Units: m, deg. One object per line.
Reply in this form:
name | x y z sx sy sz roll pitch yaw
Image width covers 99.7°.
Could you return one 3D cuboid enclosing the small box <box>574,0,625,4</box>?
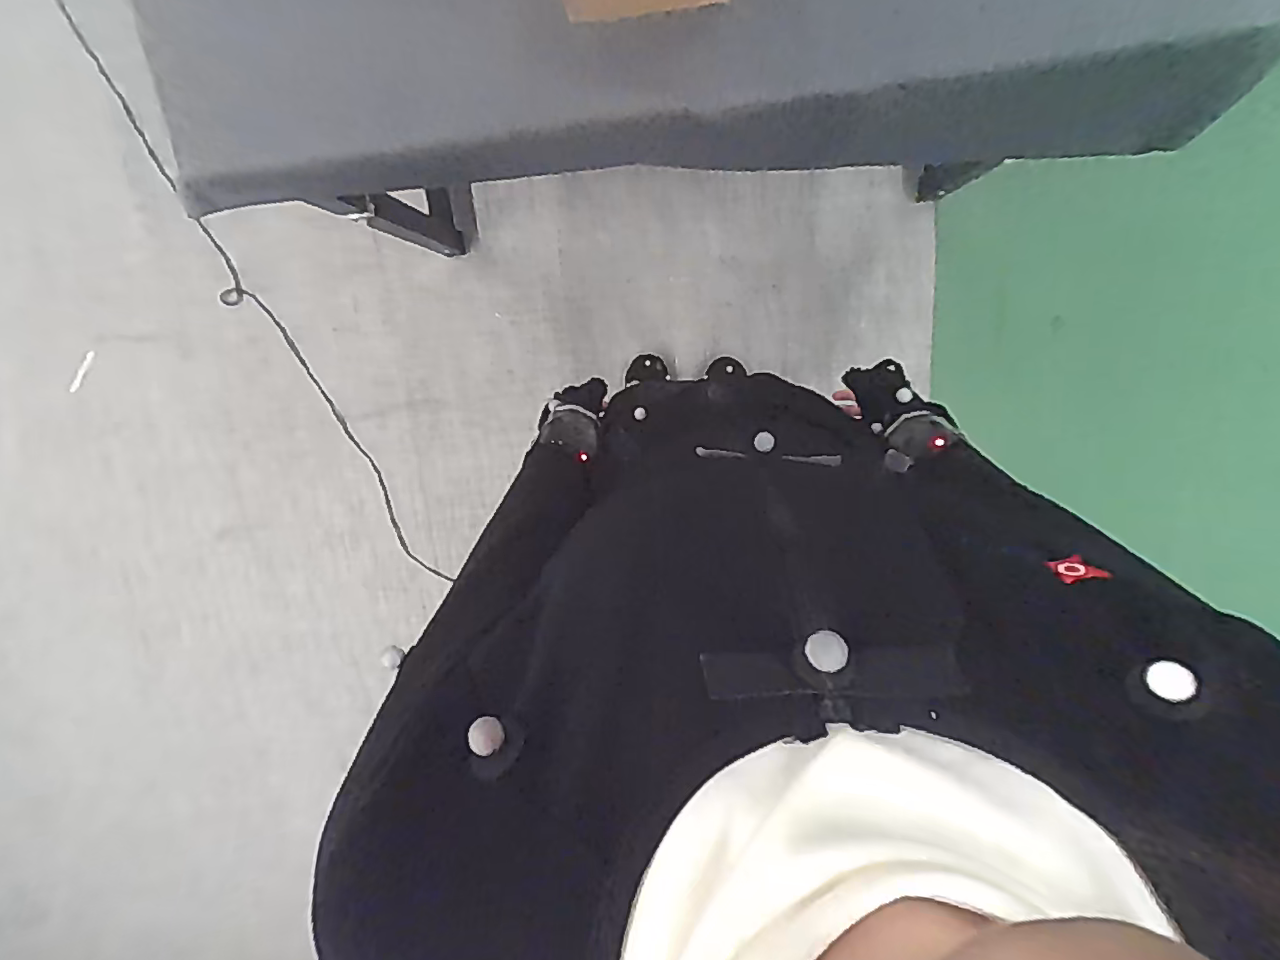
small box | 0.000 -0.562 0.472 0.179 0.176 0.168 -4 105 4
